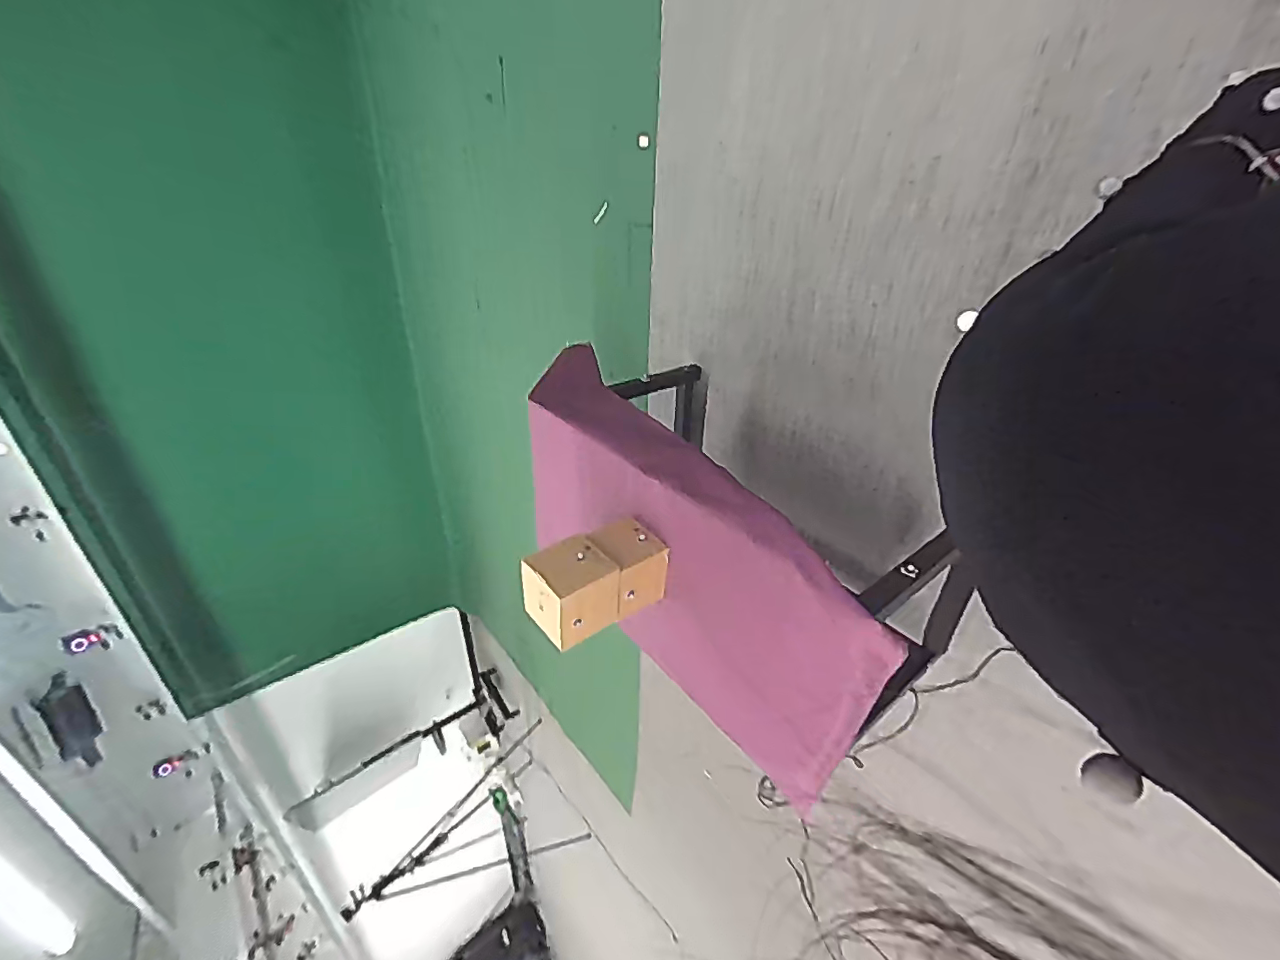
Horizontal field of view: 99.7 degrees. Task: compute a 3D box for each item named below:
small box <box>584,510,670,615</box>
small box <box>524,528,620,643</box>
[{"bbox_3d":[-0.041,0.209,1.406,0.168,0.176,0.179,37,134,37],"label":"small box"},{"bbox_3d":[-0.162,0.247,1.302,0.168,0.176,0.179,35,133,38],"label":"small box"}]
